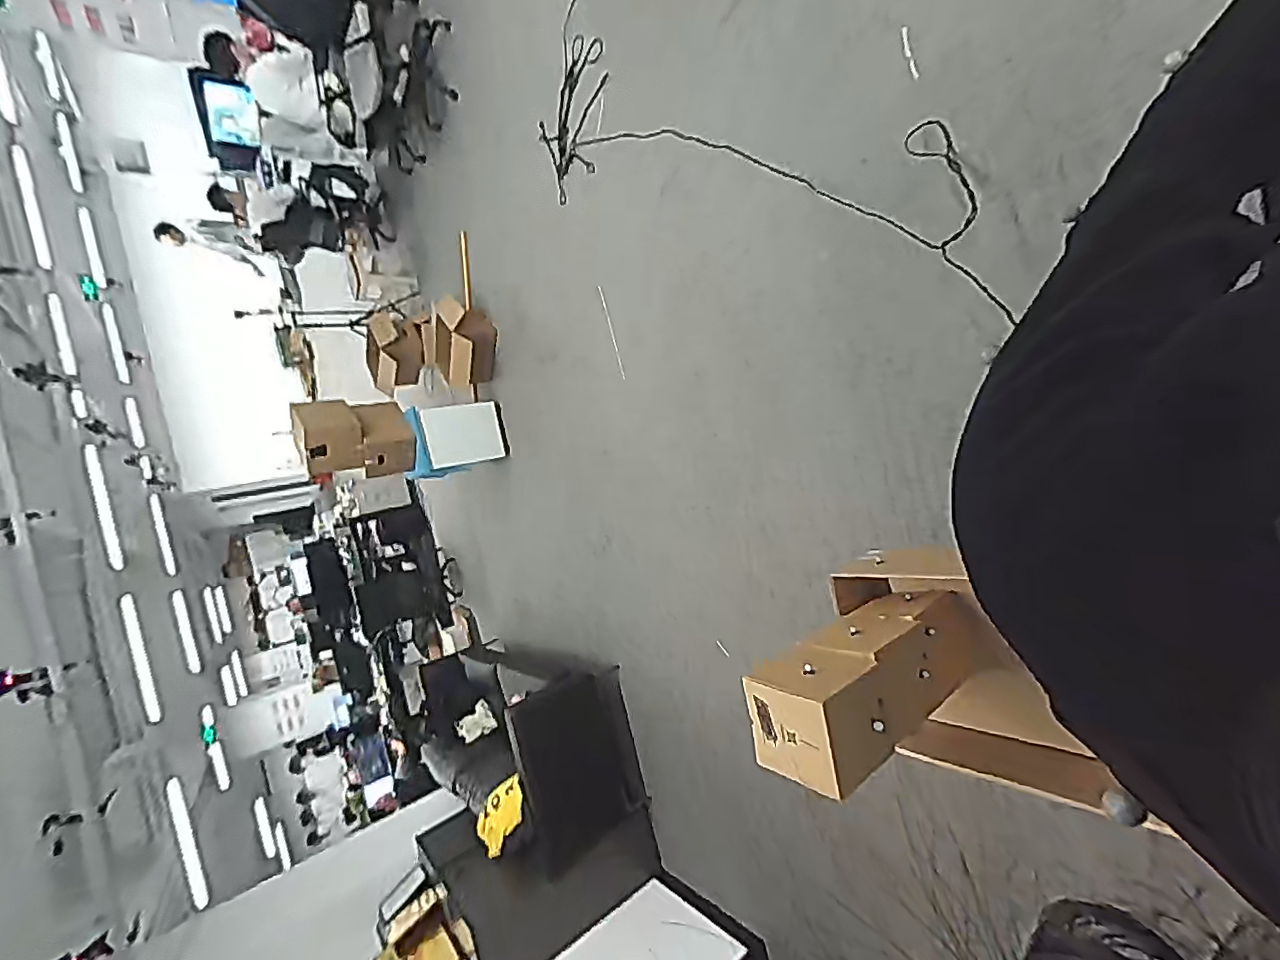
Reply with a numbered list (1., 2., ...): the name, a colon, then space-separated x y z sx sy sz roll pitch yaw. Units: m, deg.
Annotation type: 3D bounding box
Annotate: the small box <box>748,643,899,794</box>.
1. small box: 0.322 0.402 0.952 0.179 0.176 0.168 -7 96 55
